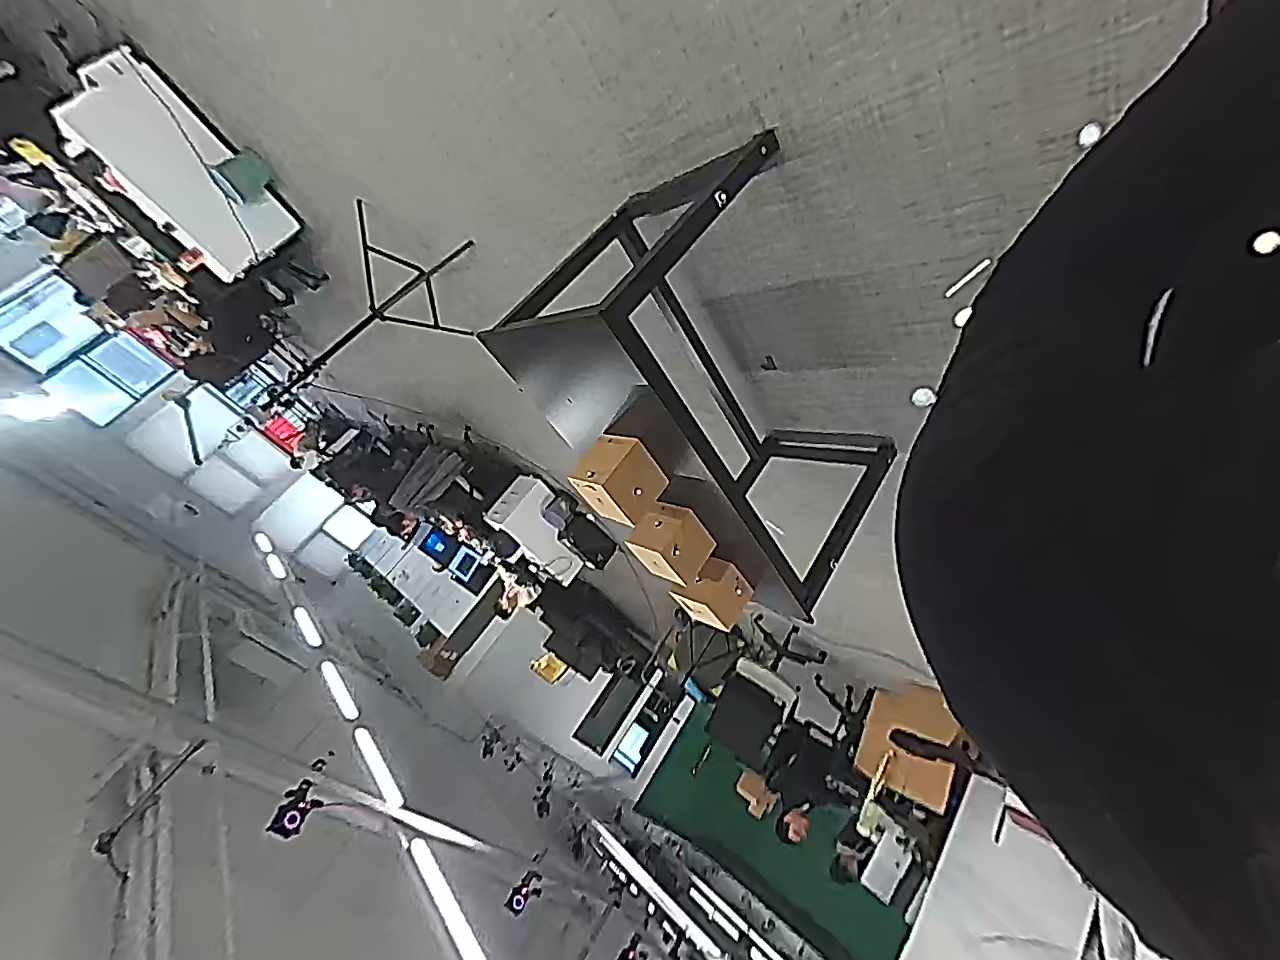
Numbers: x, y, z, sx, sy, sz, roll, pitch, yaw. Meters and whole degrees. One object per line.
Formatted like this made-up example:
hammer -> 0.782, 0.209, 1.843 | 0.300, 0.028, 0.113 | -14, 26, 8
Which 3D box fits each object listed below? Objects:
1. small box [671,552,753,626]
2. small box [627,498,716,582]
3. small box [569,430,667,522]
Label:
small box -> 0.242, 0.351, 1.797 | 0.179, 0.176, 0.168 | 9, 146, 51
small box -> 0.100, 0.178, 1.652 | 0.168, 0.176, 0.179 | 12, 148, 51
small box -> -0.055, -0.014, 1.493 | 0.168, 0.176, 0.179 | 13, 150, 49
